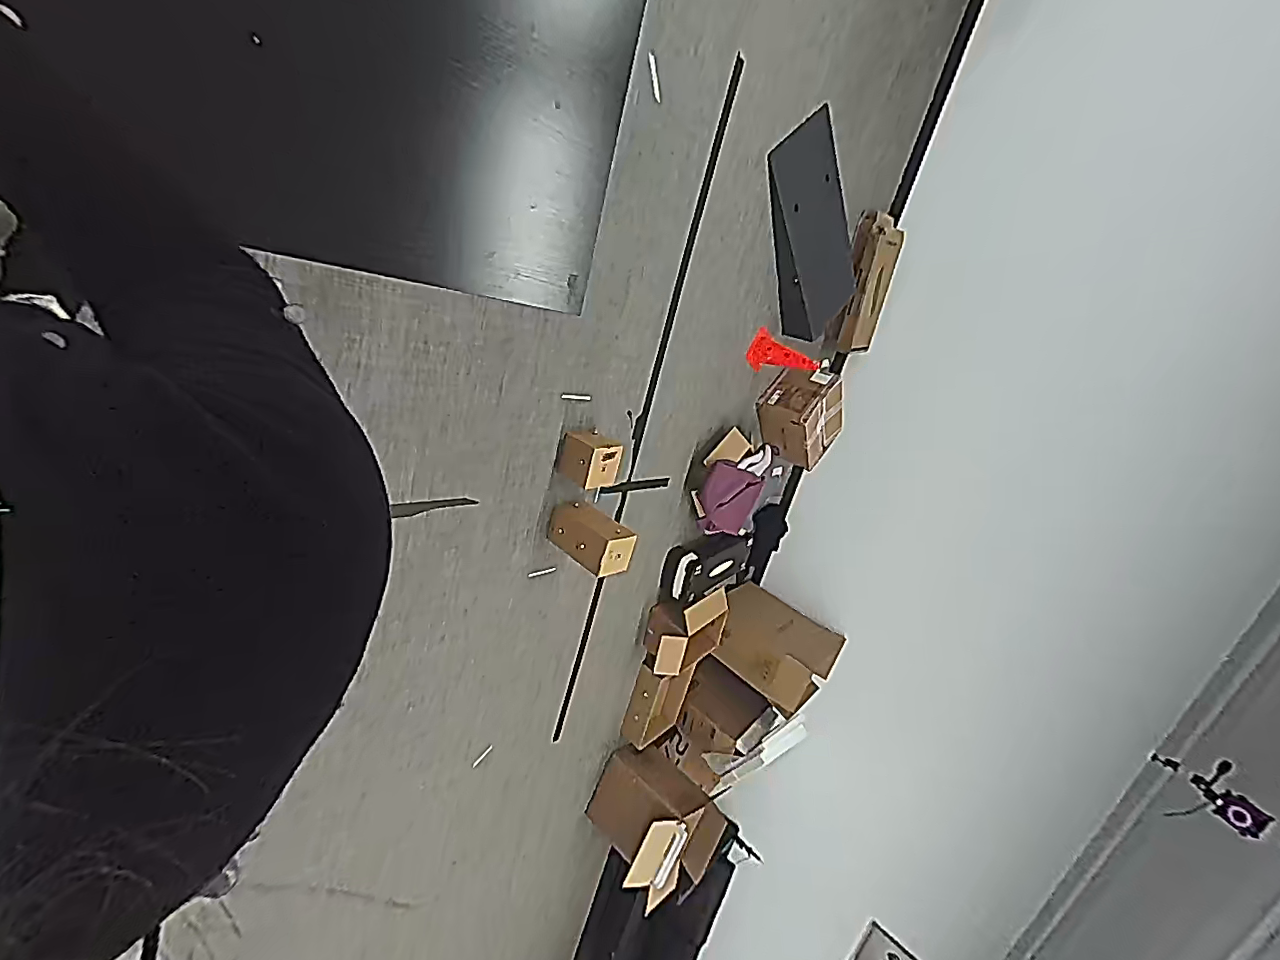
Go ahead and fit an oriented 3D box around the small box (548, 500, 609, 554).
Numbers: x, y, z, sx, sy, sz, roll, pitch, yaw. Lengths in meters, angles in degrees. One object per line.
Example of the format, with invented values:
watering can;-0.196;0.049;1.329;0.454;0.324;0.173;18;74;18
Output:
small box;-0.266;0.195;2.292;0.179;0.176;0.168;-7;118;-49

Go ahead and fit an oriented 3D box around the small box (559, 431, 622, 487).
small box;-0.202;-0.093;2.163;0.168;0.176;0.179;-9;121;-49

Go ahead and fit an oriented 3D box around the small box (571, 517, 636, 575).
small box;-0.149;0.259;2.192;0.179;0.176;0.168;-4;117;-50
